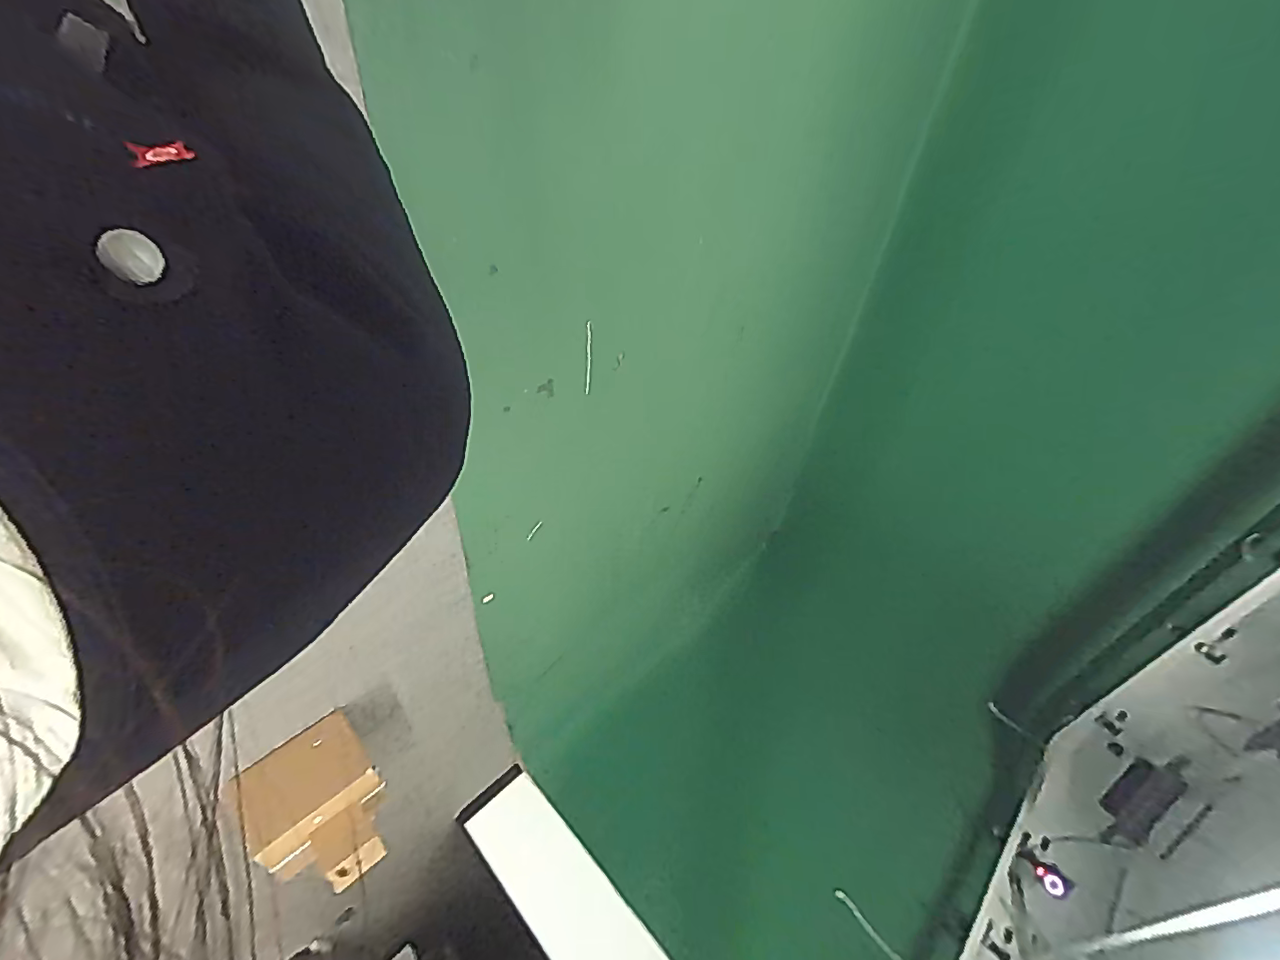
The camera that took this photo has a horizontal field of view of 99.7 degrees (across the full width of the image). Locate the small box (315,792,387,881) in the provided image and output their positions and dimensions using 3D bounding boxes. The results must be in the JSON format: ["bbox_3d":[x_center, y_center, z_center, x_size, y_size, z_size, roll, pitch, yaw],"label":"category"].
[{"bbox_3d":[-1.053,1.288,1.961,0.179,0.176,0.168,-27,137,-39],"label":"small box"}]
